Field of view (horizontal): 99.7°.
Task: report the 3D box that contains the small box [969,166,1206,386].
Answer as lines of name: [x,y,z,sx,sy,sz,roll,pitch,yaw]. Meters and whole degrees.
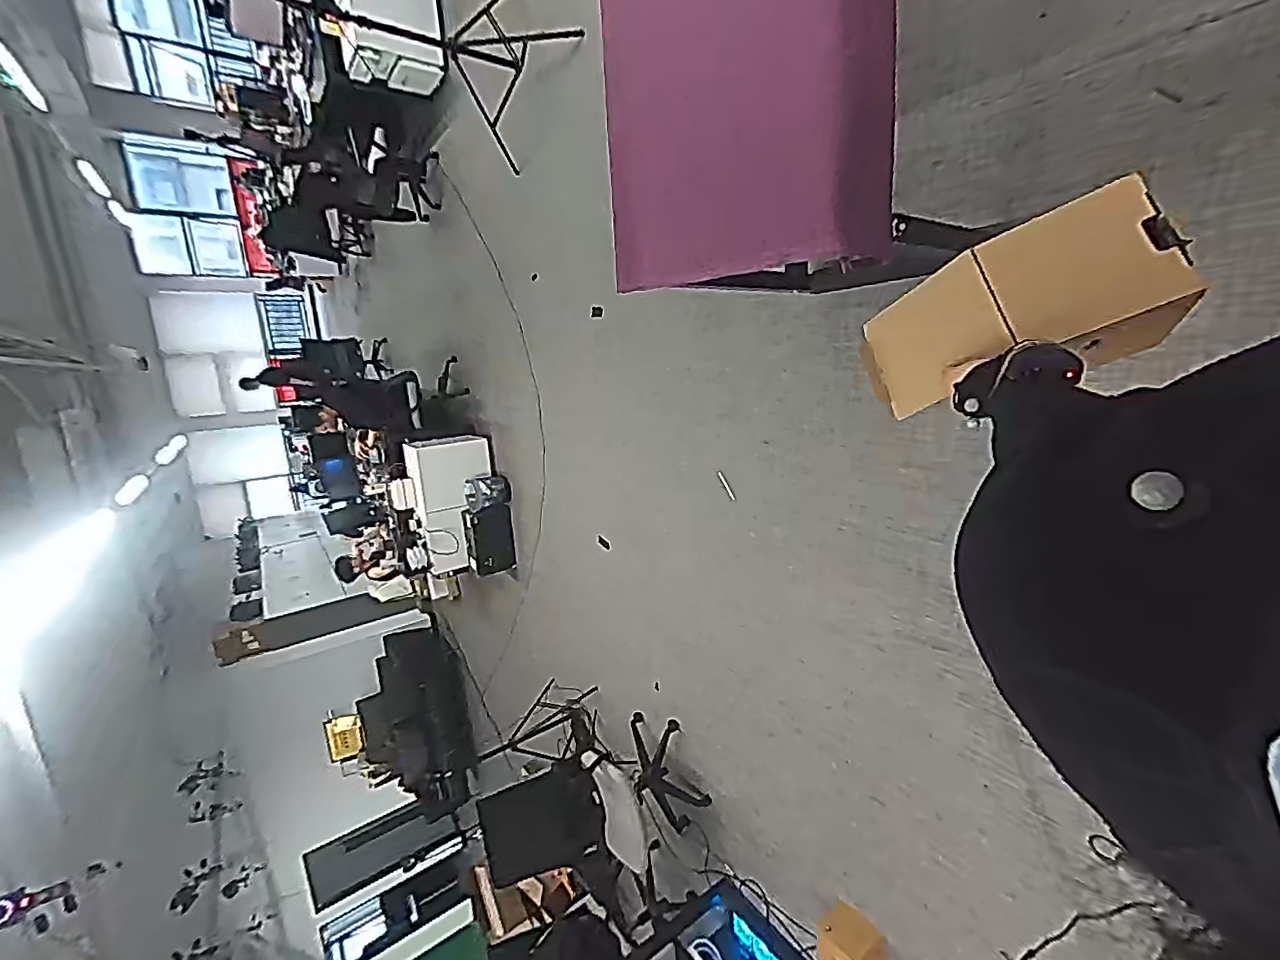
small box: [0.547,-0.240,0.692,0.179,0.176,0.168,-21,72,27]
